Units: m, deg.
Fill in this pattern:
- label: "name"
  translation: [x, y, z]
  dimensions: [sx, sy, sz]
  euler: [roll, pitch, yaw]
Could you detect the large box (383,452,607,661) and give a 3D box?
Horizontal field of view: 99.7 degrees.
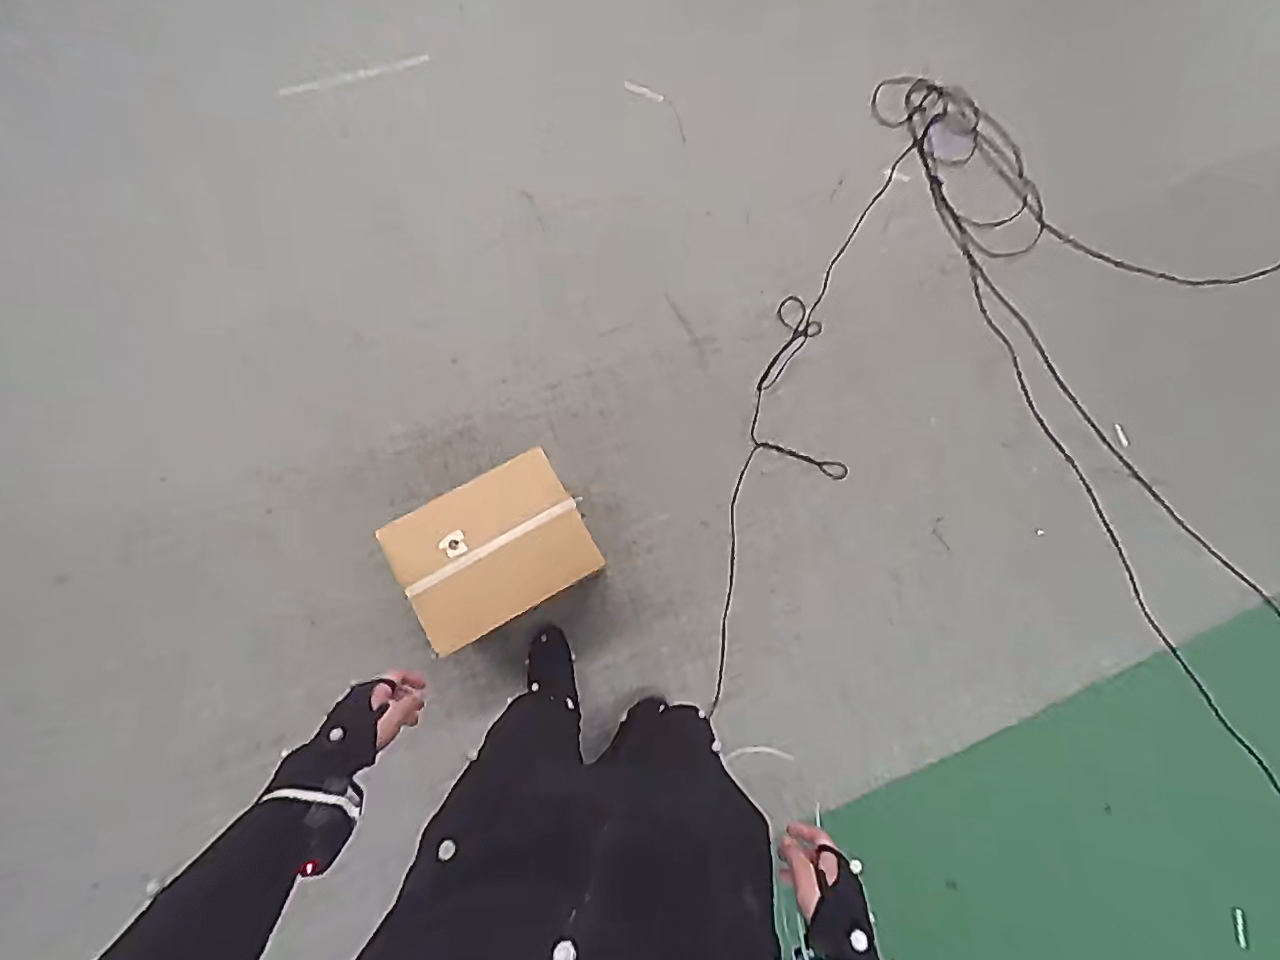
- label: "large box"
  translation: [-0.327, 0.185, 1.336]
  dimensions: [0.408, 0.320, 0.320]
  euler: [-29, 82, -9]
